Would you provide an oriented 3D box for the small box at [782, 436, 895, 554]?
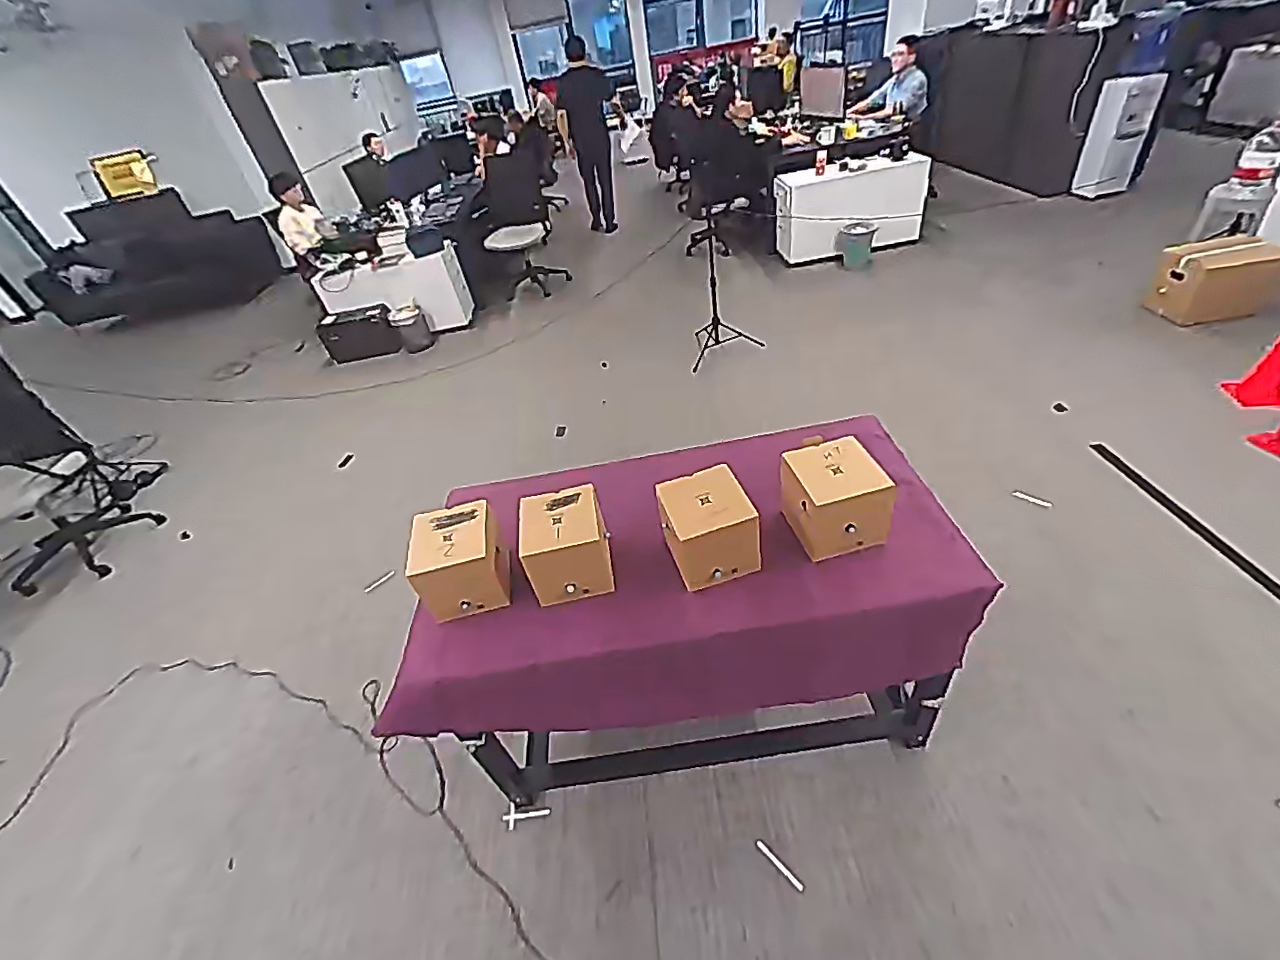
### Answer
[{"bbox_3d":[0.413,0.038,1.153,0.168,0.176,0.179,-14,39,-2],"label":"small box"}]

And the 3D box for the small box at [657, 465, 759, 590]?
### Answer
[{"bbox_3d":[0.144,0.101,1.150,0.168,0.176,0.179,-17,39,-5],"label":"small box"}]

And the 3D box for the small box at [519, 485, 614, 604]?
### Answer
[{"bbox_3d":[-0.158,0.140,1.178,0.168,0.176,0.179,-13,40,0],"label":"small box"}]
